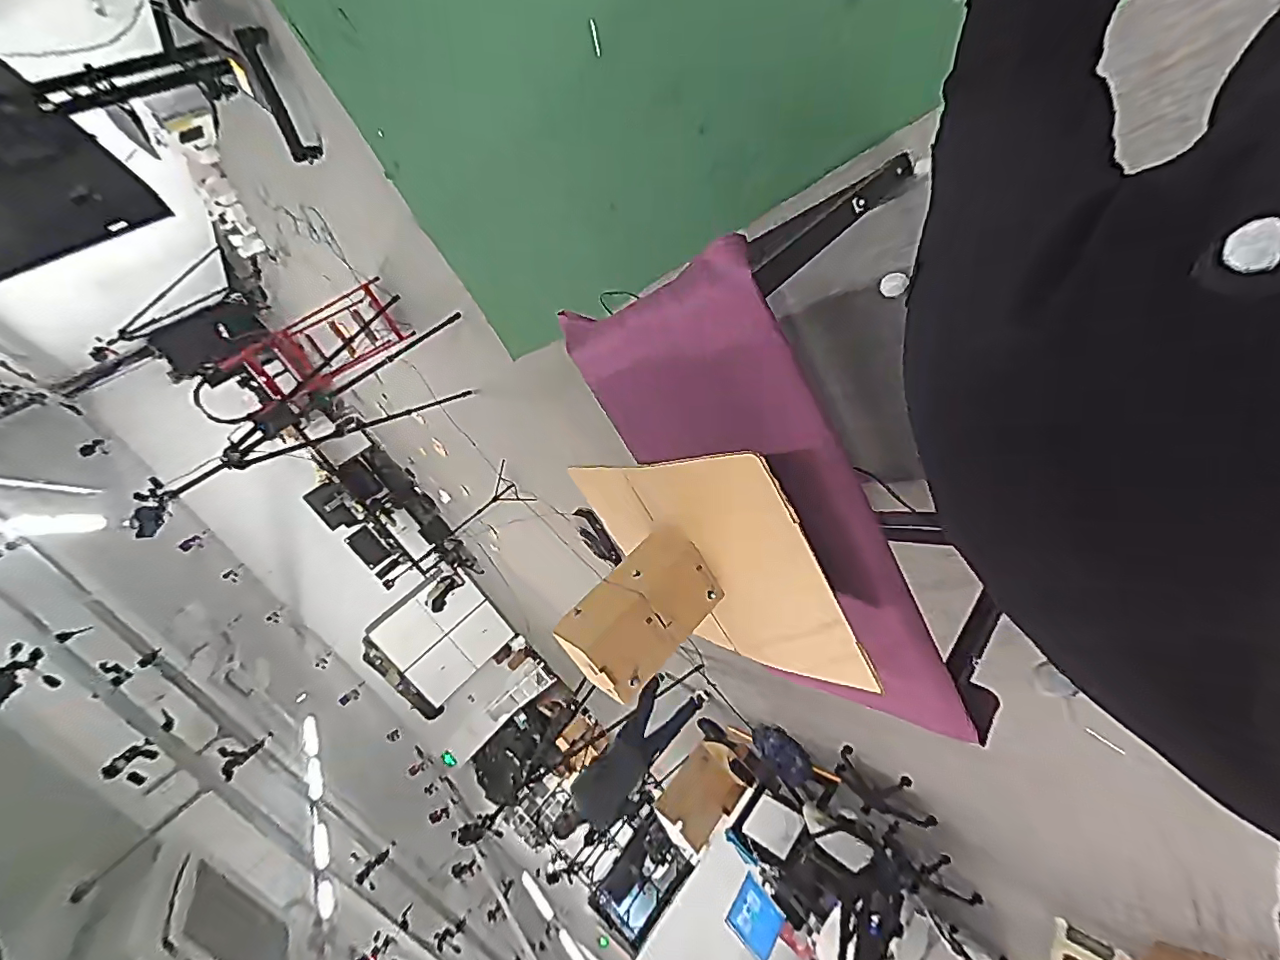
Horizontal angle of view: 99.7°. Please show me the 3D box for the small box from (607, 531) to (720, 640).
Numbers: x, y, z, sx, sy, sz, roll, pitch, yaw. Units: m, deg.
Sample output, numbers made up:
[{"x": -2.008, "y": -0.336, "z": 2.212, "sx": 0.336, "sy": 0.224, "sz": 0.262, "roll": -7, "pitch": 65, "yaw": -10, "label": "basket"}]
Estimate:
[{"x": 0.062, "y": 0.237, "z": 1.261, "sx": 0.179, "sy": 0.176, "sz": 0.168, "roll": 2, "pitch": 129, "yaw": 58, "label": "small box"}]
